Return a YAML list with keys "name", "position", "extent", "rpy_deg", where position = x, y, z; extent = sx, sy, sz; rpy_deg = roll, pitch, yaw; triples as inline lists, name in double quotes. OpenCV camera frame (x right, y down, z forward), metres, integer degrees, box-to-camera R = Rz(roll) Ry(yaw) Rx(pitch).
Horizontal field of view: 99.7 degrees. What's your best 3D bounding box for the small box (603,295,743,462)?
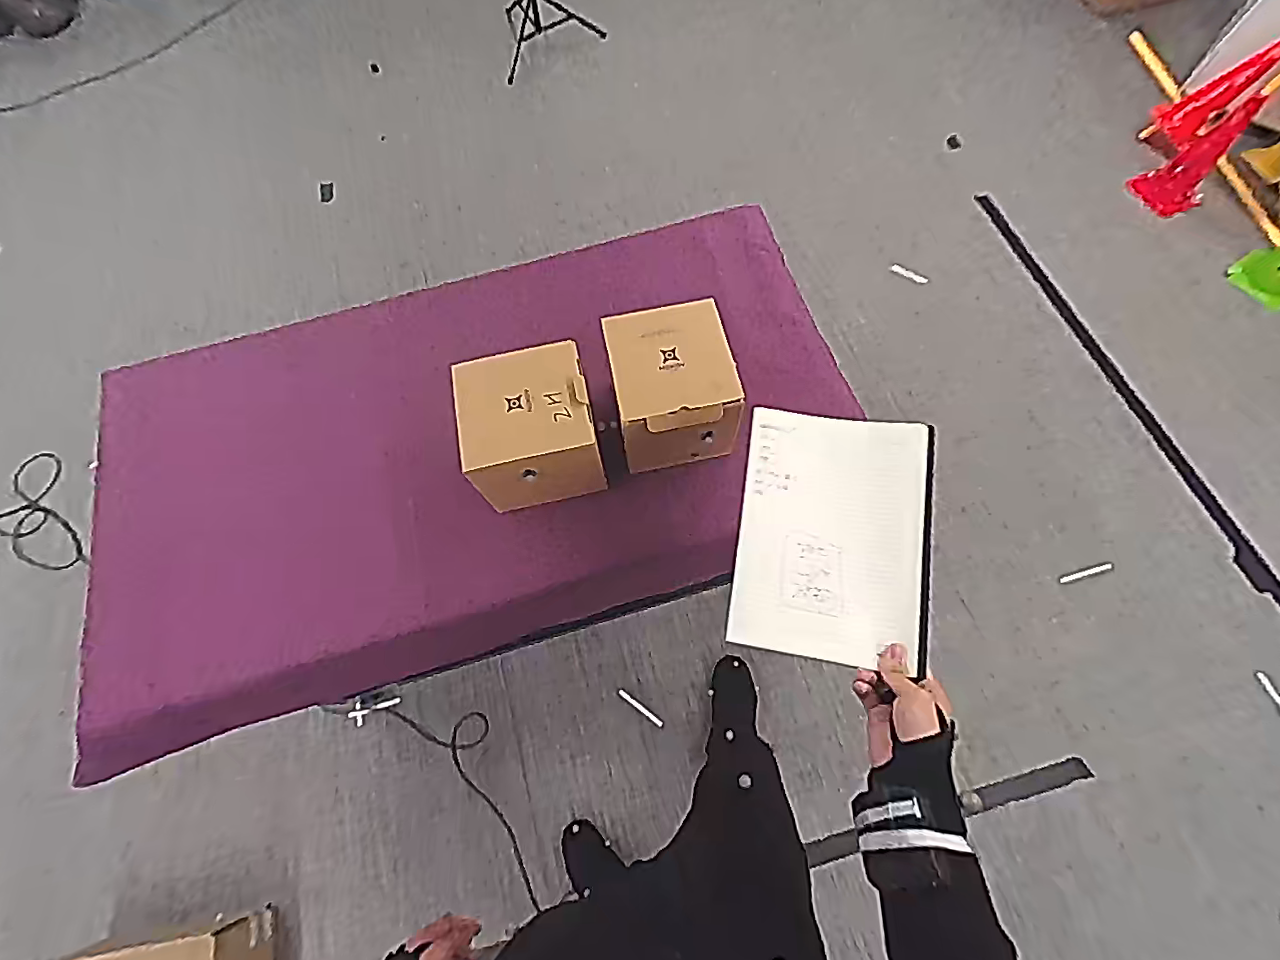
- name: "small box"
  position: [0.046, -0.139, 0.802]
  extent: [0.168, 0.176, 0.179]
  rpy_deg: [-10, 68, -2]
